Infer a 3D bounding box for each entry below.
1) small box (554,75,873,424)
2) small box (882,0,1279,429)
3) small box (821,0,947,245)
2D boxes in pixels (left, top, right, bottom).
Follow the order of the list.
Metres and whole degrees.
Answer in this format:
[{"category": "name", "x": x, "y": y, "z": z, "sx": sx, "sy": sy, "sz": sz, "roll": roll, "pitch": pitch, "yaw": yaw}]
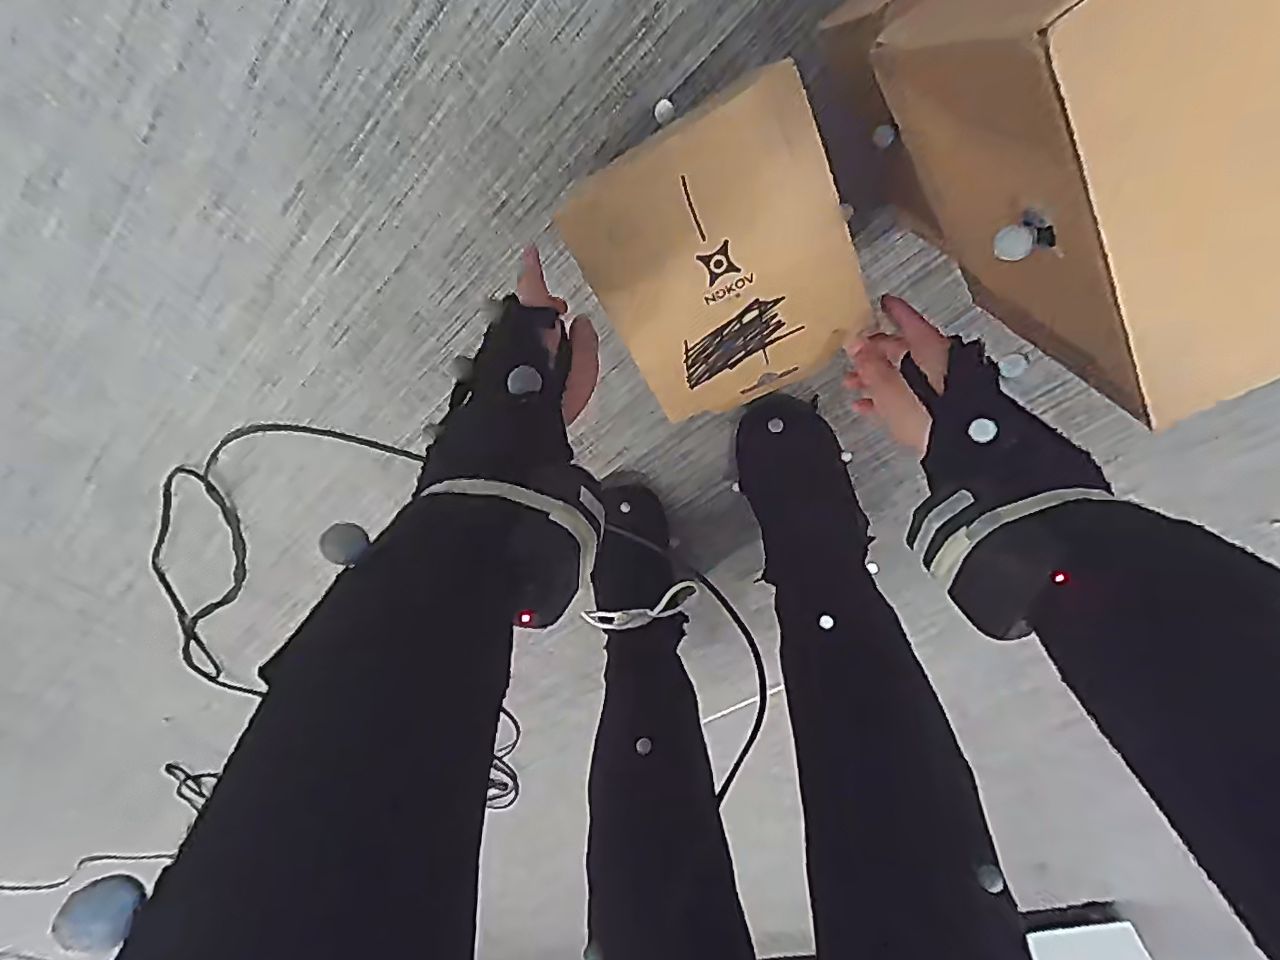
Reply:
[{"category": "small box", "x": 0.059, "y": -0.181, "z": 0.428, "sx": 0.168, "sy": 0.176, "sz": 0.179, "roll": -23, "pitch": 120, "yaw": 18}, {"category": "small box", "x": 0.237, "y": -0.162, "z": 0.234, "sx": 0.168, "sy": 0.176, "sz": 0.179, "roll": -31, "pitch": 118, "yaw": 23}, {"category": "small box", "x": 0.243, "y": -0.272, "z": 0.355, "sx": 0.168, "sy": 0.176, "sz": 0.179, "roll": -31, "pitch": 118, "yaw": 22}]
